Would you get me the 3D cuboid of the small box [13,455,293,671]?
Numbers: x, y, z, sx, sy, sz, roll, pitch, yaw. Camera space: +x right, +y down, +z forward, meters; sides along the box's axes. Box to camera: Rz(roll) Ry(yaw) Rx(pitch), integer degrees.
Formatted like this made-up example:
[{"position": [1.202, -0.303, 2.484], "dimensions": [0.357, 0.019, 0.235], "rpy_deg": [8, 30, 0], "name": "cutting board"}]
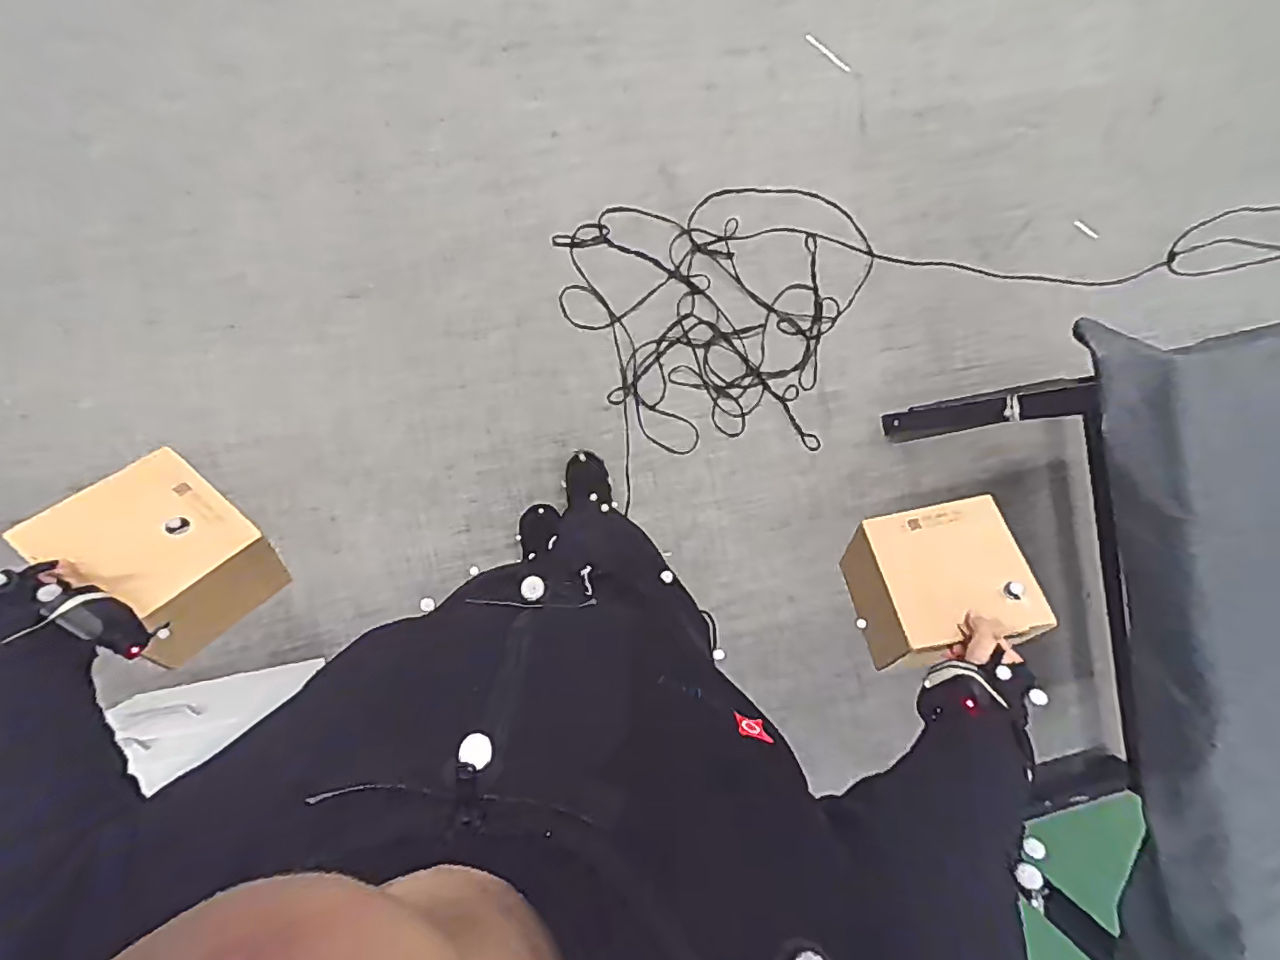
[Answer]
[{"position": [-0.570, 0.103, 0.669], "dimensions": [0.168, 0.179, 0.176], "rpy_deg": [40, 56, 4], "name": "small box"}]
